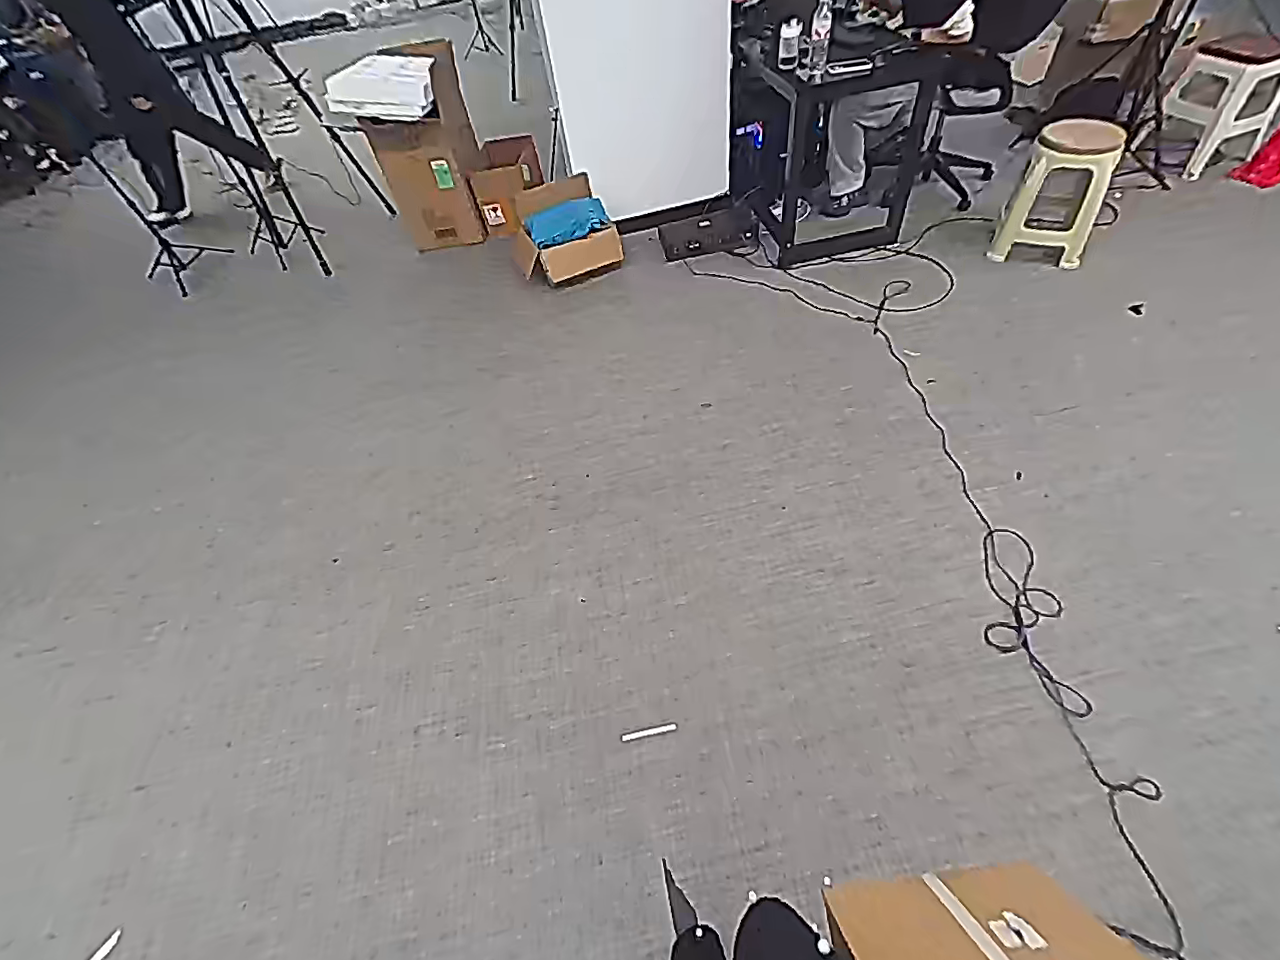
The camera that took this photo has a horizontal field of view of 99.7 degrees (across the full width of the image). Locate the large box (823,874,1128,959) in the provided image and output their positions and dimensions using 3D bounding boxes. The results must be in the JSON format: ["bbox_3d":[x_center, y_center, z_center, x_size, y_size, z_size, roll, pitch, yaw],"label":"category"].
[{"bbox_3d":[0.438,0.721,0.586,0.320,0.408,0.320,-6,81,0],"label":"large box"}]
